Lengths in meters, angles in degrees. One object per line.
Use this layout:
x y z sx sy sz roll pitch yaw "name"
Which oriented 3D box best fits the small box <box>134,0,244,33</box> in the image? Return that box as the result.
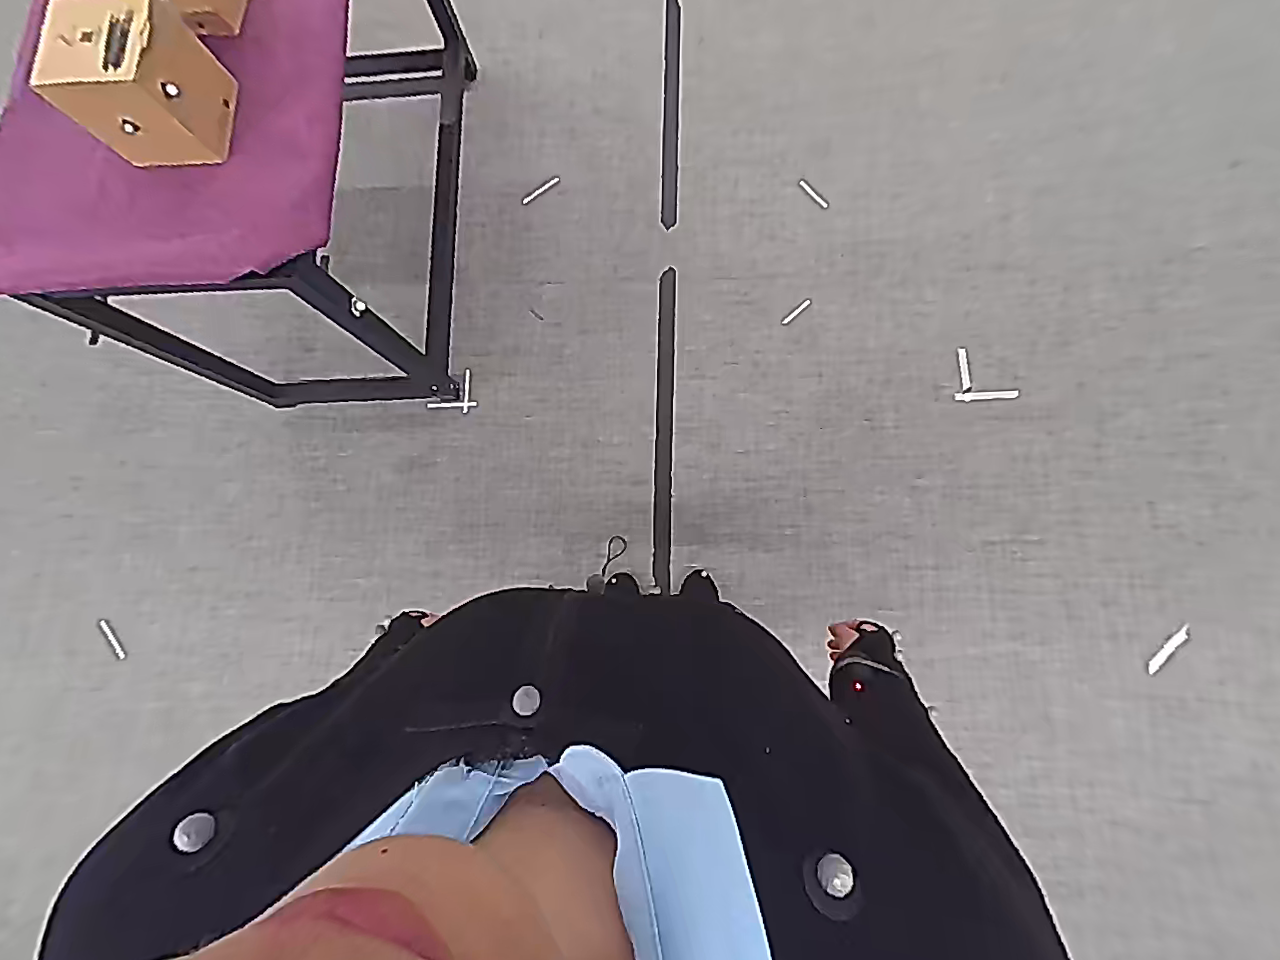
-0.819 -0.930 0.943 0.168 0.176 0.179 7 80 4 "small box"
